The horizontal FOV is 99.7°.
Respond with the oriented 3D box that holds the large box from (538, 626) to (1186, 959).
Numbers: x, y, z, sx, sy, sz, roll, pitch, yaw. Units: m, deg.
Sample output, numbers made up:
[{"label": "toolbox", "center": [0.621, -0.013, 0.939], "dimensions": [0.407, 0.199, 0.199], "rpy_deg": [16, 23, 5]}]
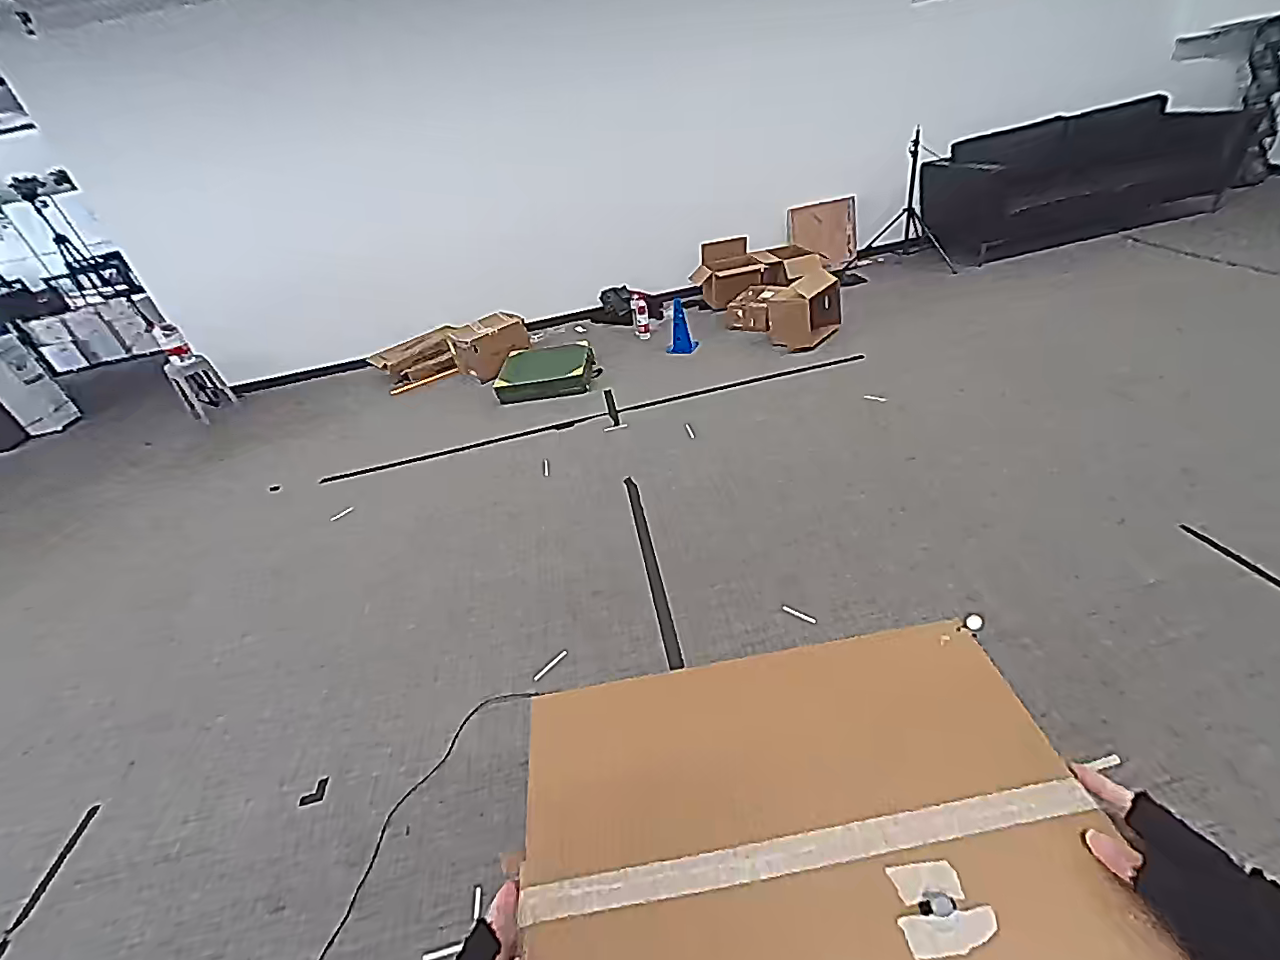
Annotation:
[{"label": "large box", "center": [0.138, 0.383, 0.485], "dimensions": [0.408, 0.320, 0.320], "rpy_deg": [-10, 40, -2]}]
